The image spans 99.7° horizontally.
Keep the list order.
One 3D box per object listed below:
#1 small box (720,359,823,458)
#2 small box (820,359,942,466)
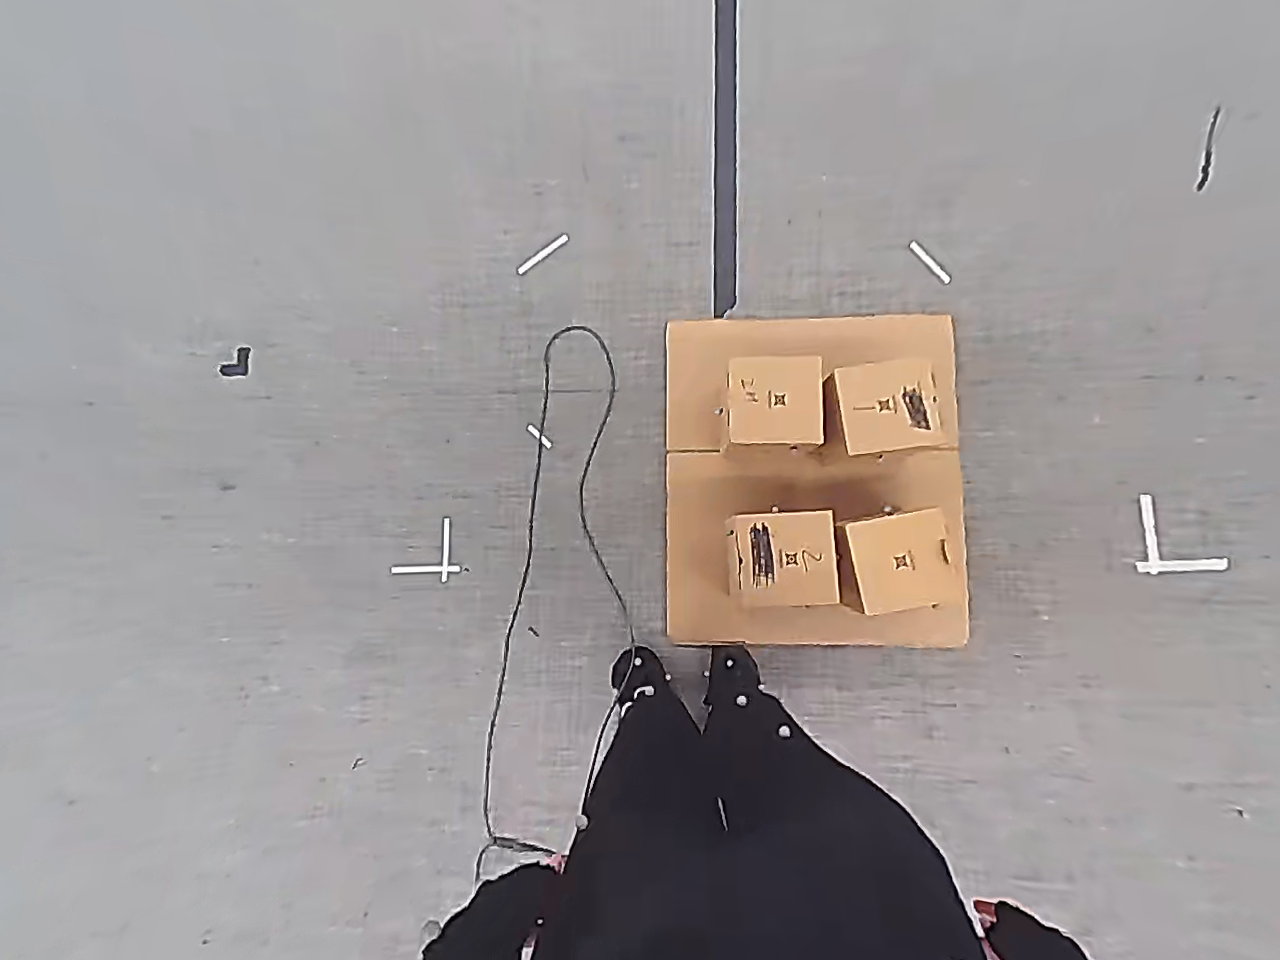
[{"bbox_3d":[0.258,-0.138,1.089,0.179,0.176,0.168,1,84,4],"label":"small box"},{"bbox_3d":[0.461,-0.127,1.072,0.179,0.176,0.168,-8,83,4],"label":"small box"}]
